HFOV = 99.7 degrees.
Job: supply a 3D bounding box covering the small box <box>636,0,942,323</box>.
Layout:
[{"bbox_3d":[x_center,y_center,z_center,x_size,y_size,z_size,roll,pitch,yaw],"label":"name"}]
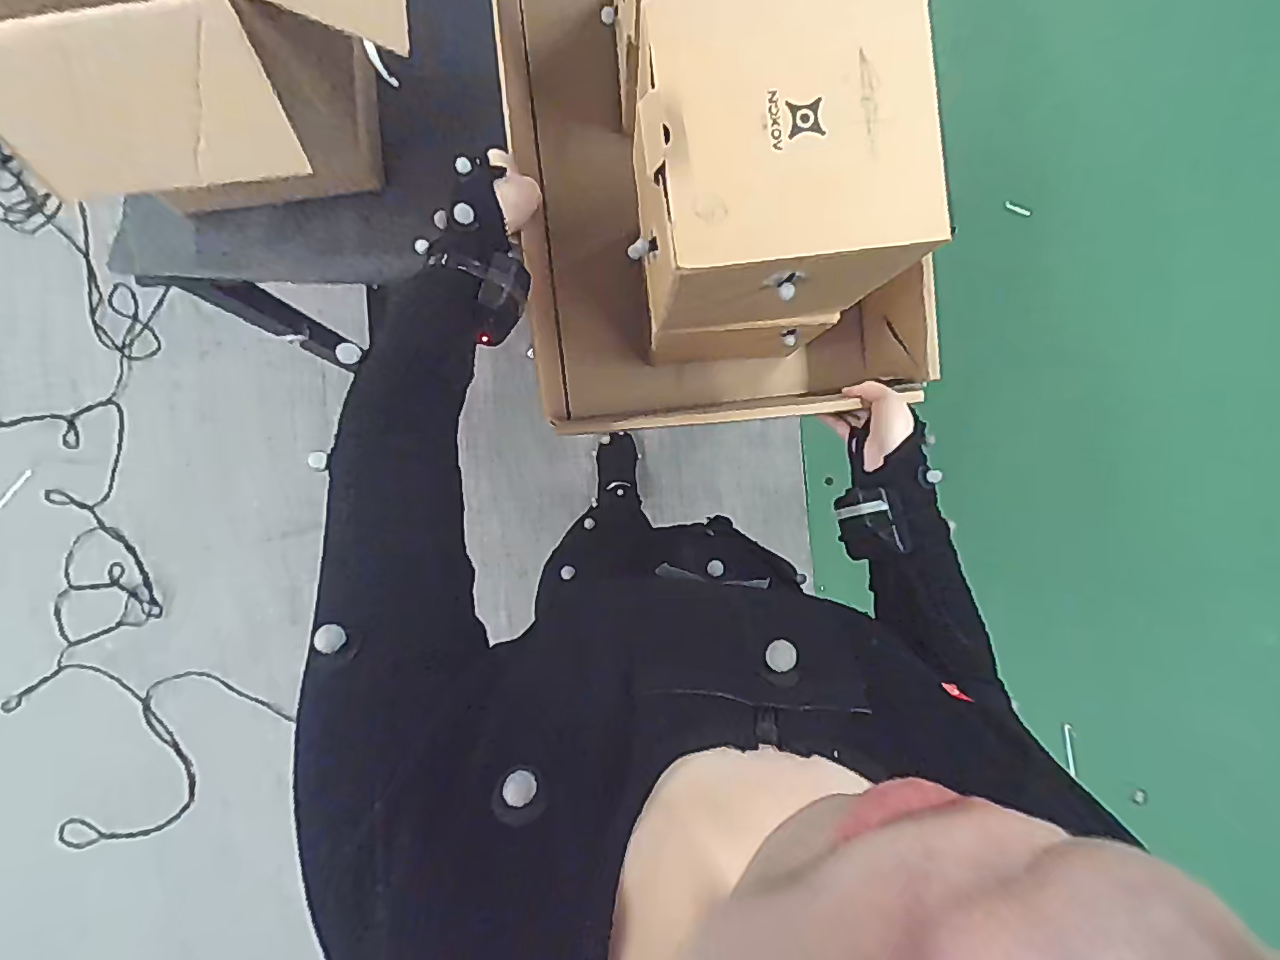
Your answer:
[{"bbox_3d":[0.091,-0.227,0.412,0.179,0.176,0.168,-7,93,-2],"label":"small box"}]
